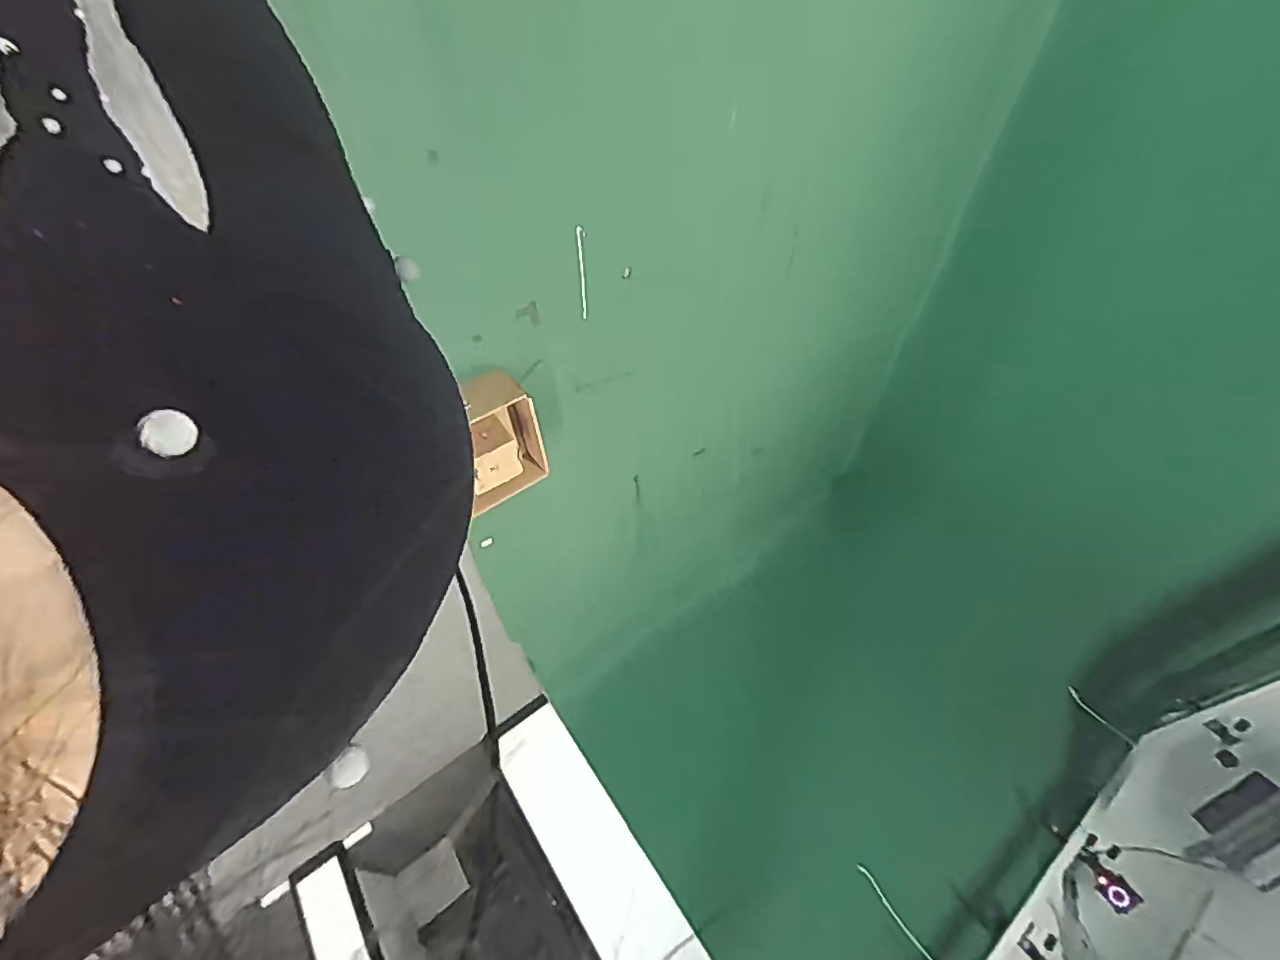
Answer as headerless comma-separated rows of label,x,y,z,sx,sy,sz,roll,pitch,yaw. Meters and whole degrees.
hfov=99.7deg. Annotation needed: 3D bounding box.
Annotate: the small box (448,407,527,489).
small box,-0.498,-0.110,1.769,0.179,0.176,0.168,-30,148,-21
